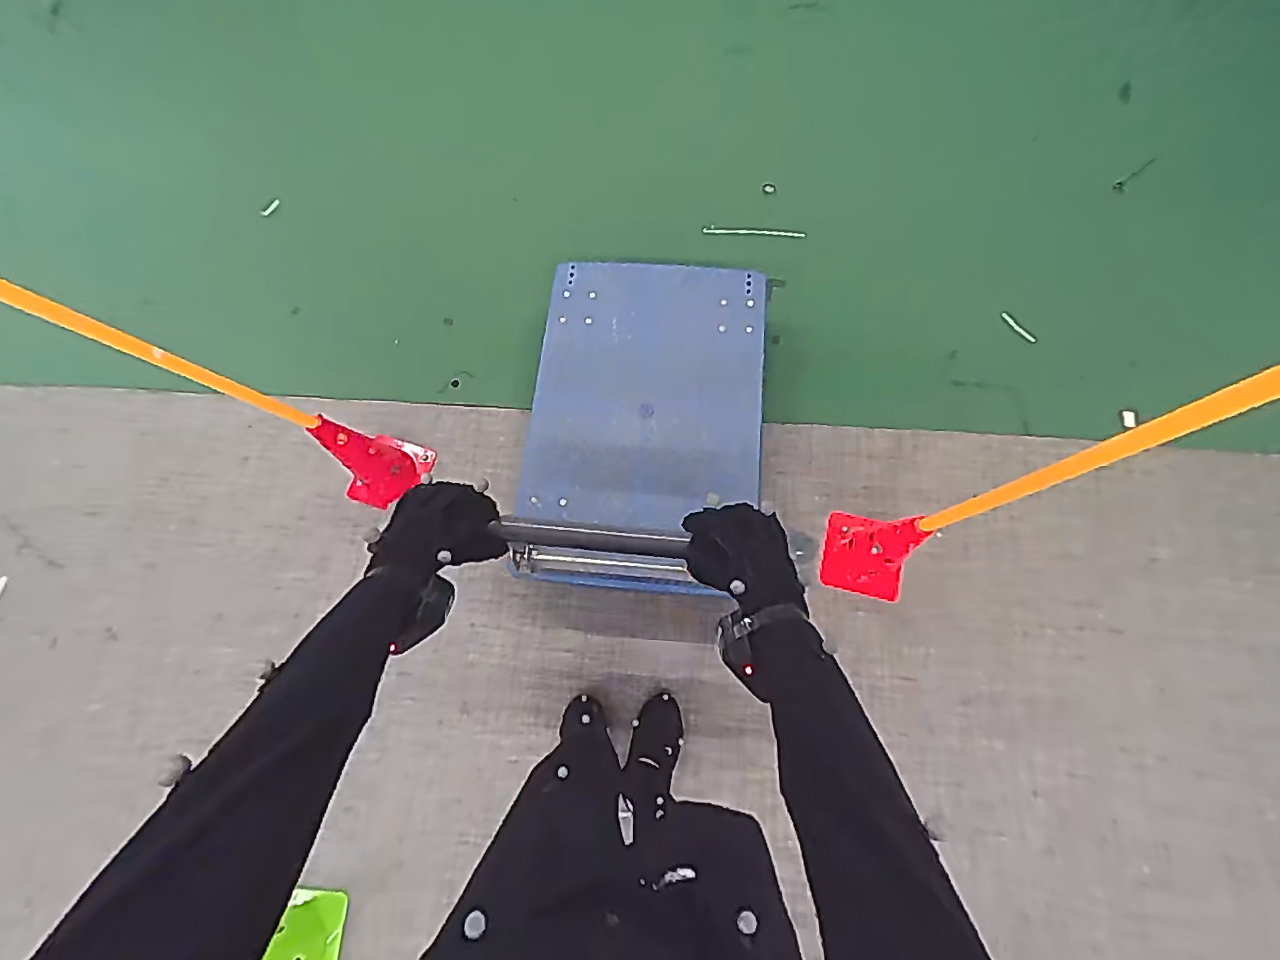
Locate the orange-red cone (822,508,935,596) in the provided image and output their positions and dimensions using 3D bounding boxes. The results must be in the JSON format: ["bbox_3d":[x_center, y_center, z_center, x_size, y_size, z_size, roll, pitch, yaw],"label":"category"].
[{"bbox_3d":[0.568,0.131,1.218,0.198,0.360,0.199,14,74,8],"label":"orange-red cone"}]
